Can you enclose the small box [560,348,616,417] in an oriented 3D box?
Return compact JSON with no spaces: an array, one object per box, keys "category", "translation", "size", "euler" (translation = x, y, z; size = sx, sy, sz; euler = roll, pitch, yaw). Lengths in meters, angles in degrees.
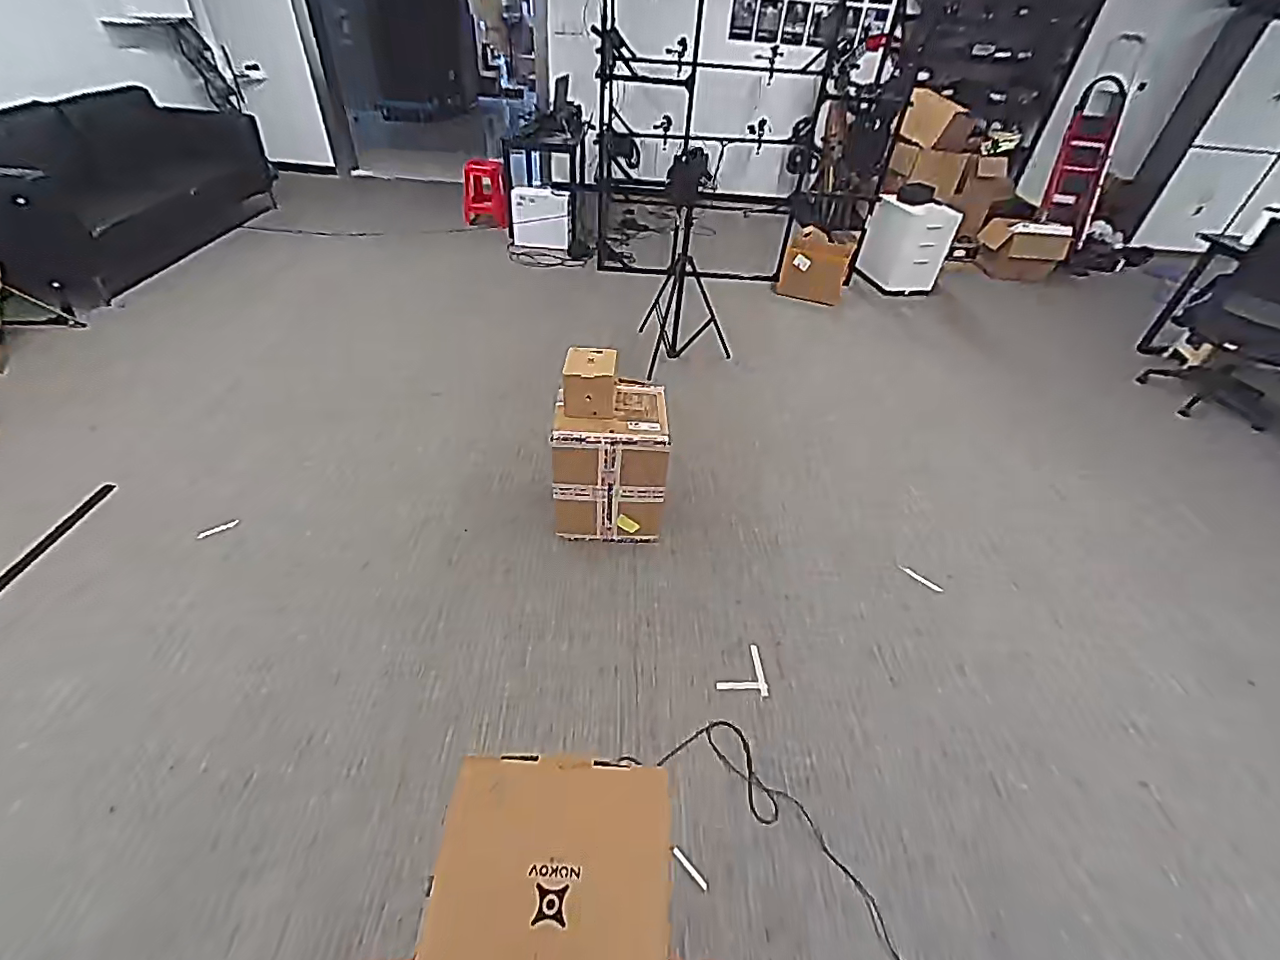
[{"category":"small box","translation":[-0.170,-0.329,1.831],"size":[0.168,0.176,0.179],"euler":[3,43,0]}]
